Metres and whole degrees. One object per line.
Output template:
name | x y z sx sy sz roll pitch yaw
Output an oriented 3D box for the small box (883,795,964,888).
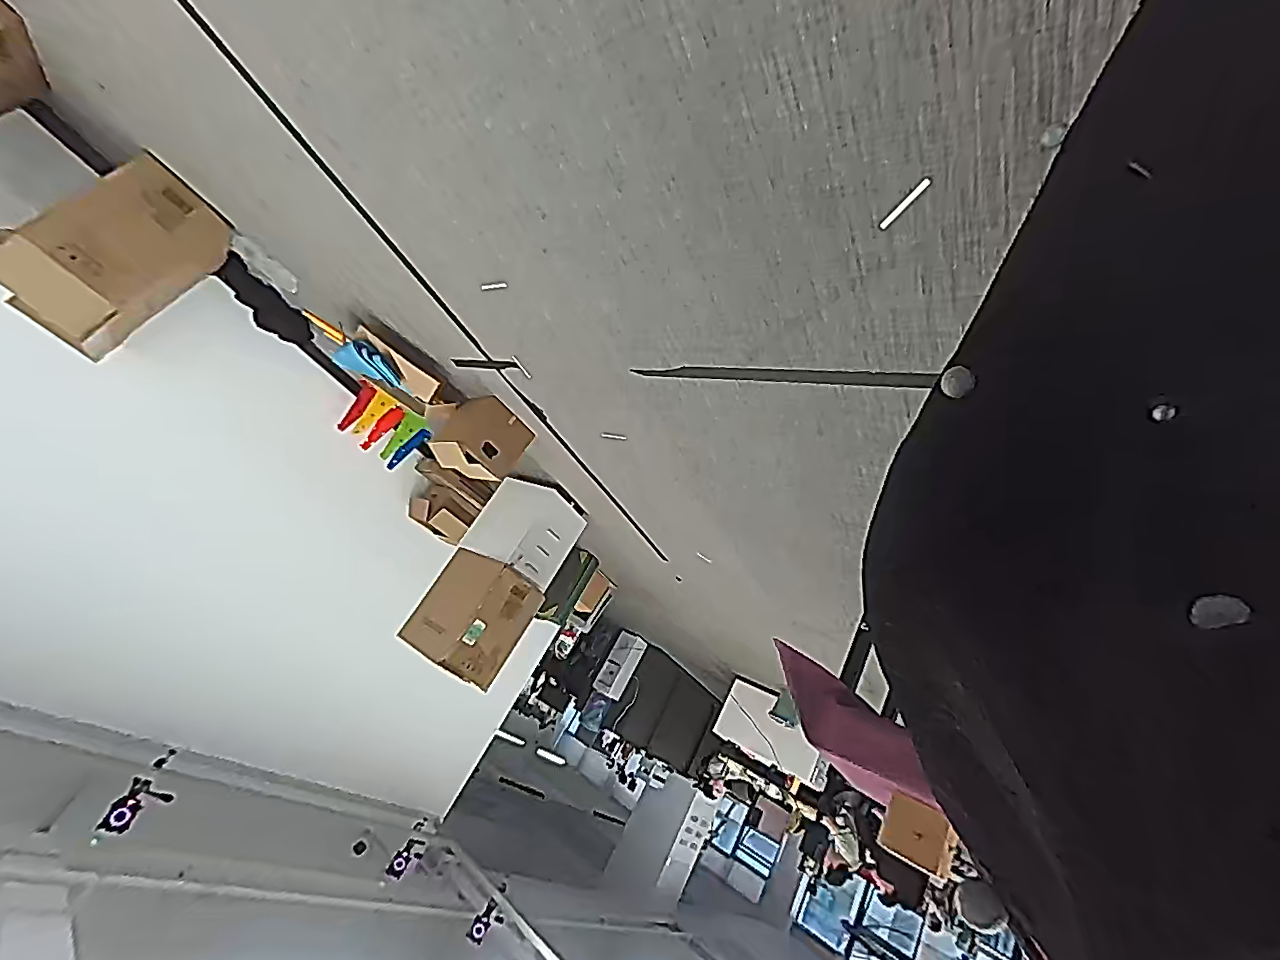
small box | 0.884 1.112 1.673 0.179 0.176 0.168 7 147 45
